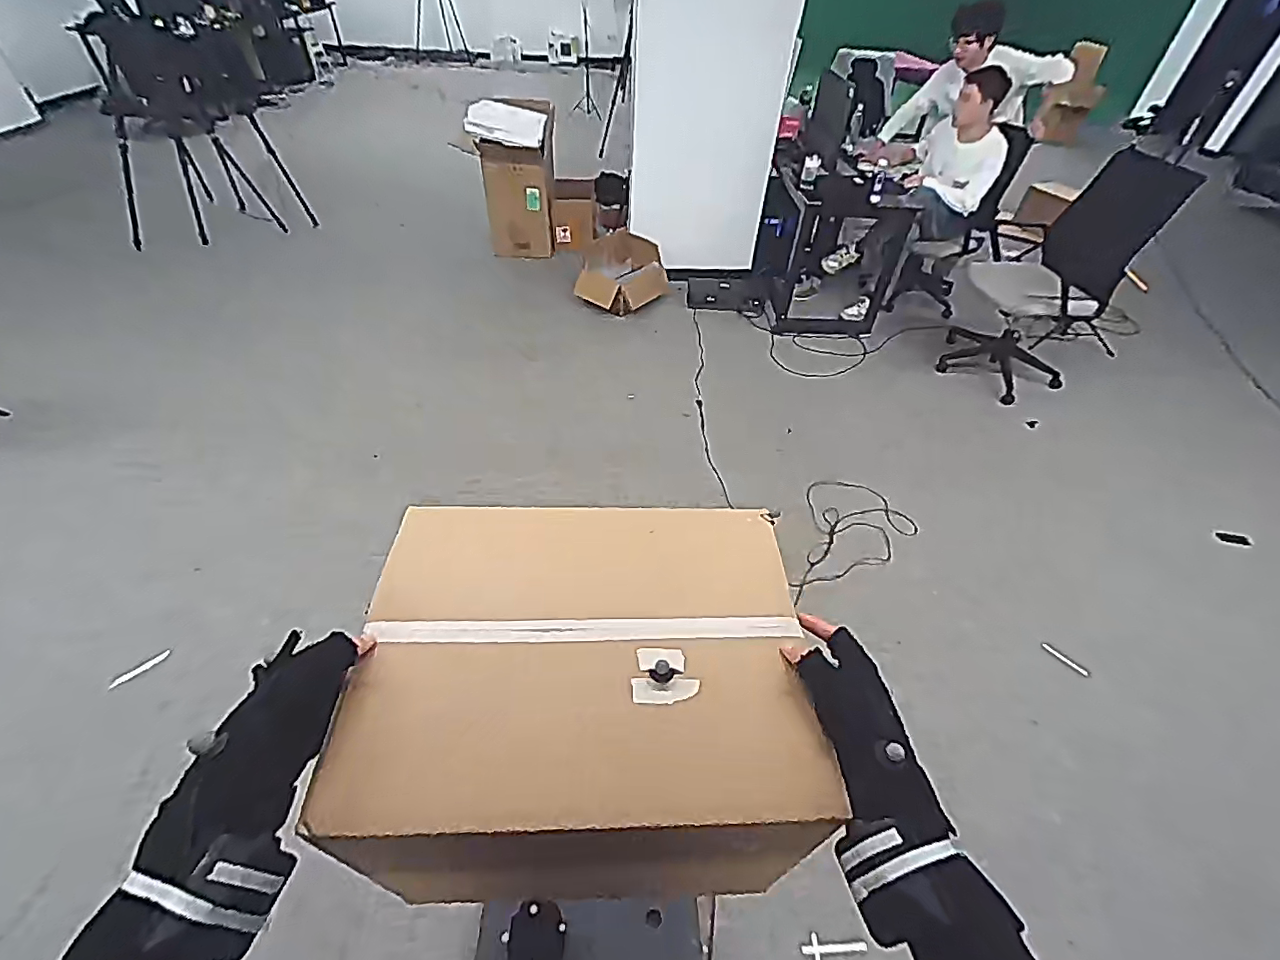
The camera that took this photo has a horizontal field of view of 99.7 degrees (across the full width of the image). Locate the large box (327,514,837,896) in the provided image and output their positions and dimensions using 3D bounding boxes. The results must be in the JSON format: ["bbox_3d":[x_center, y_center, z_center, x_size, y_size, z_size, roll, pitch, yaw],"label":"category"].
[{"bbox_3d":[-0.055,0.254,0.624,0.408,0.320,0.320,1,45,-4],"label":"large box"}]
